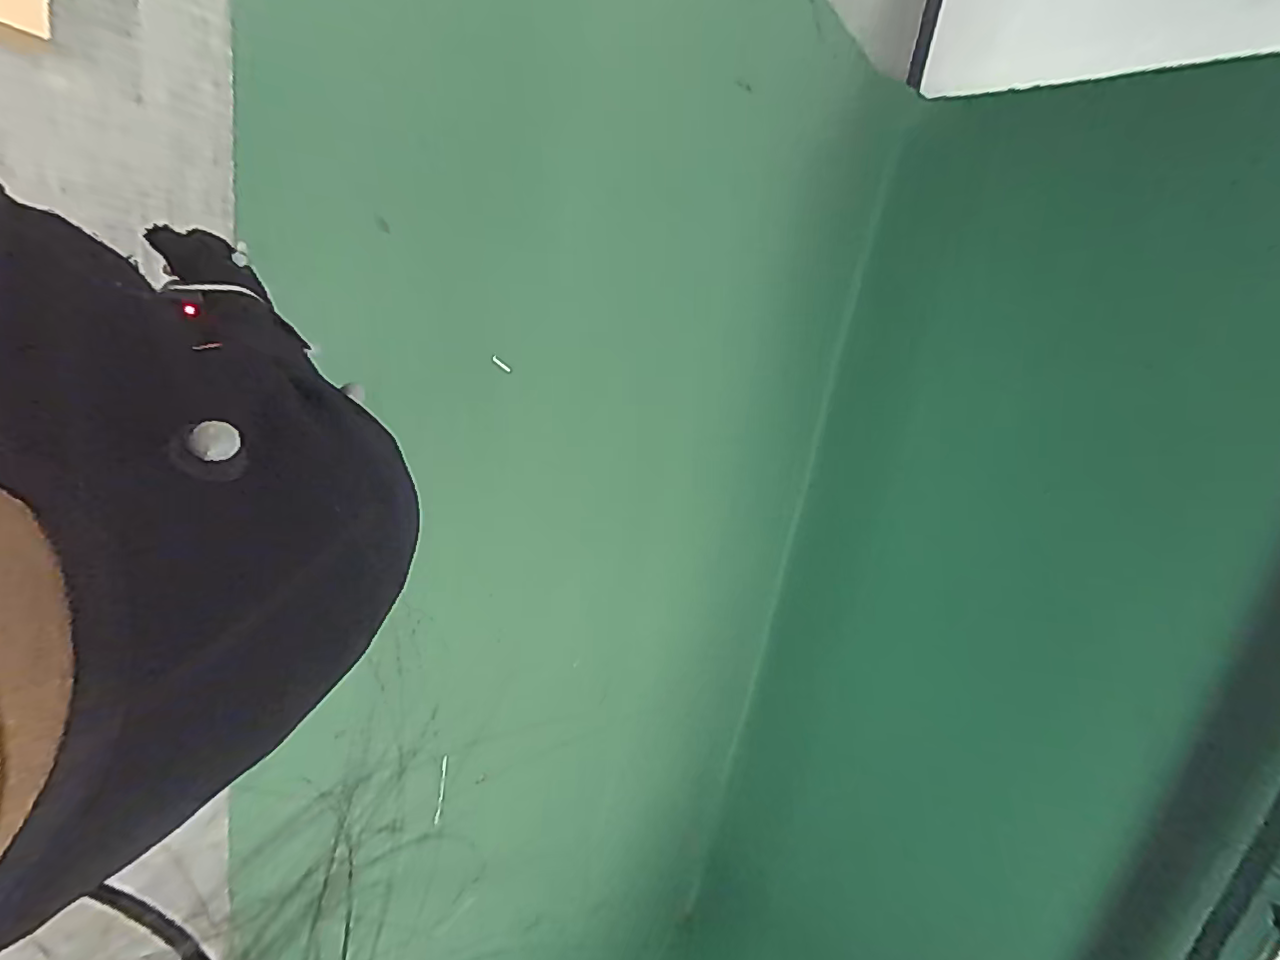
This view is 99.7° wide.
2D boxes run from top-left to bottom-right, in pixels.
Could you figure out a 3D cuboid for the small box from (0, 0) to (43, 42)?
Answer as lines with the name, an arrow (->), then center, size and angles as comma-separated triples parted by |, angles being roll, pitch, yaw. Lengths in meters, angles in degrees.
small box -> -0.972, -0.770, 0.767 | 0.168, 0.176, 0.179 | -4, 111, -49
